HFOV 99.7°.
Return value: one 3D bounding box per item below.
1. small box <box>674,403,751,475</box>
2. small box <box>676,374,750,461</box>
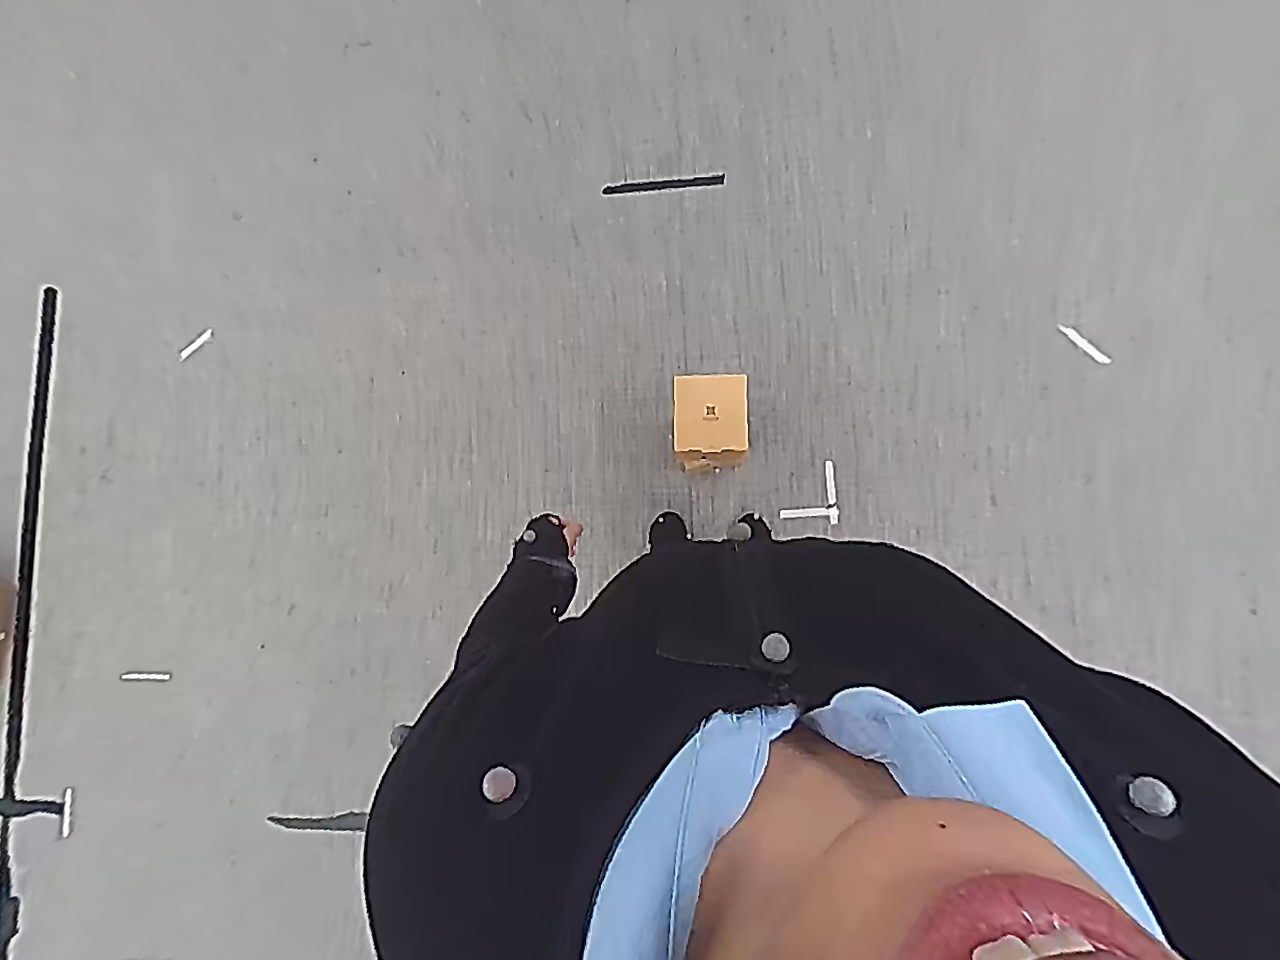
[{"bbox_3d":[0.188,-0.121,1.448,0.168,0.176,0.179,-13,84,4],"label":"small box"},{"bbox_3d":[0.168,-0.142,1.287,0.168,0.176,0.179,-1,85,4],"label":"small box"}]
